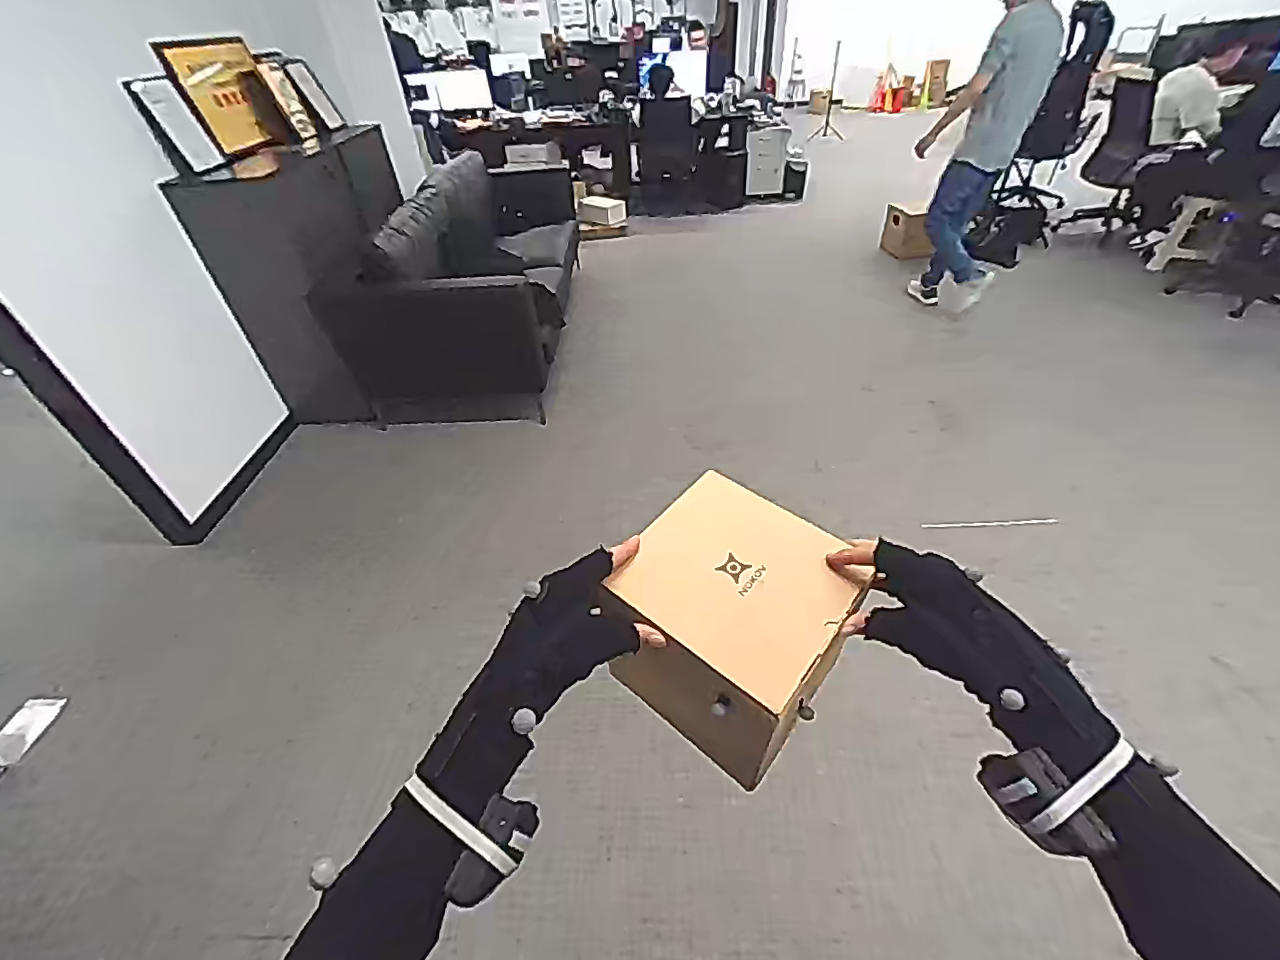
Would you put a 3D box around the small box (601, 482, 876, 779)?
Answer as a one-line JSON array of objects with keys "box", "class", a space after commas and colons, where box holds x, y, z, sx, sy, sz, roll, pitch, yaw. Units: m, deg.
[{"box": [0.083, 0.140, 0.509, 0.179, 0.176, 0.168, 31, 54, 28], "class": "small box"}]
